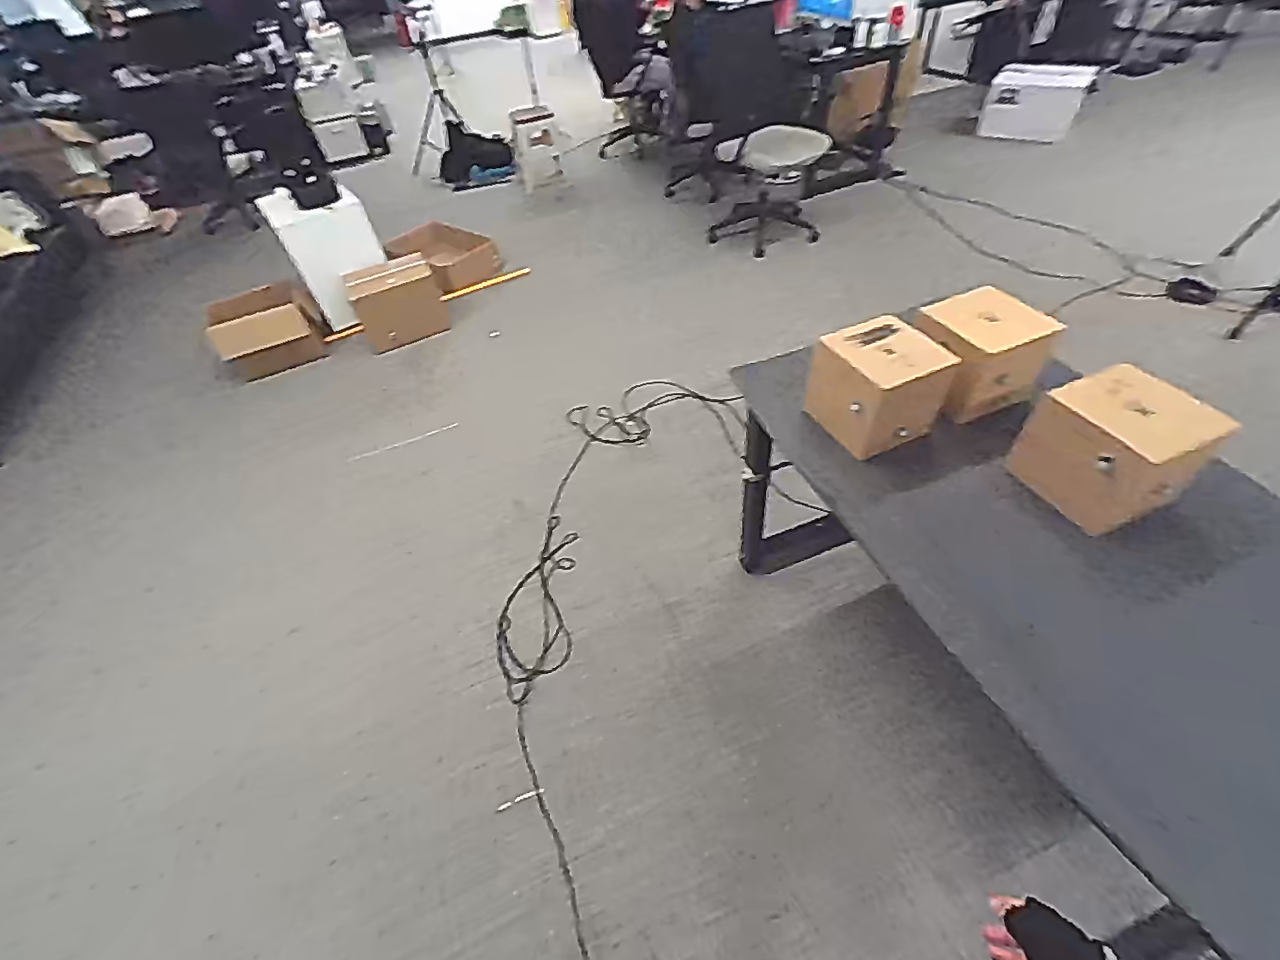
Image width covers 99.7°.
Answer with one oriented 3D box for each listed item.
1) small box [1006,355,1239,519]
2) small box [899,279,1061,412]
[{"bbox_3d":[0.733,-0.060,0.847,0.168,0.176,0.179,-20,48,-11],"label":"small box"},{"bbox_3d":[0.637,-0.251,1.038,0.168,0.176,0.179,-21,48,-11],"label":"small box"}]
